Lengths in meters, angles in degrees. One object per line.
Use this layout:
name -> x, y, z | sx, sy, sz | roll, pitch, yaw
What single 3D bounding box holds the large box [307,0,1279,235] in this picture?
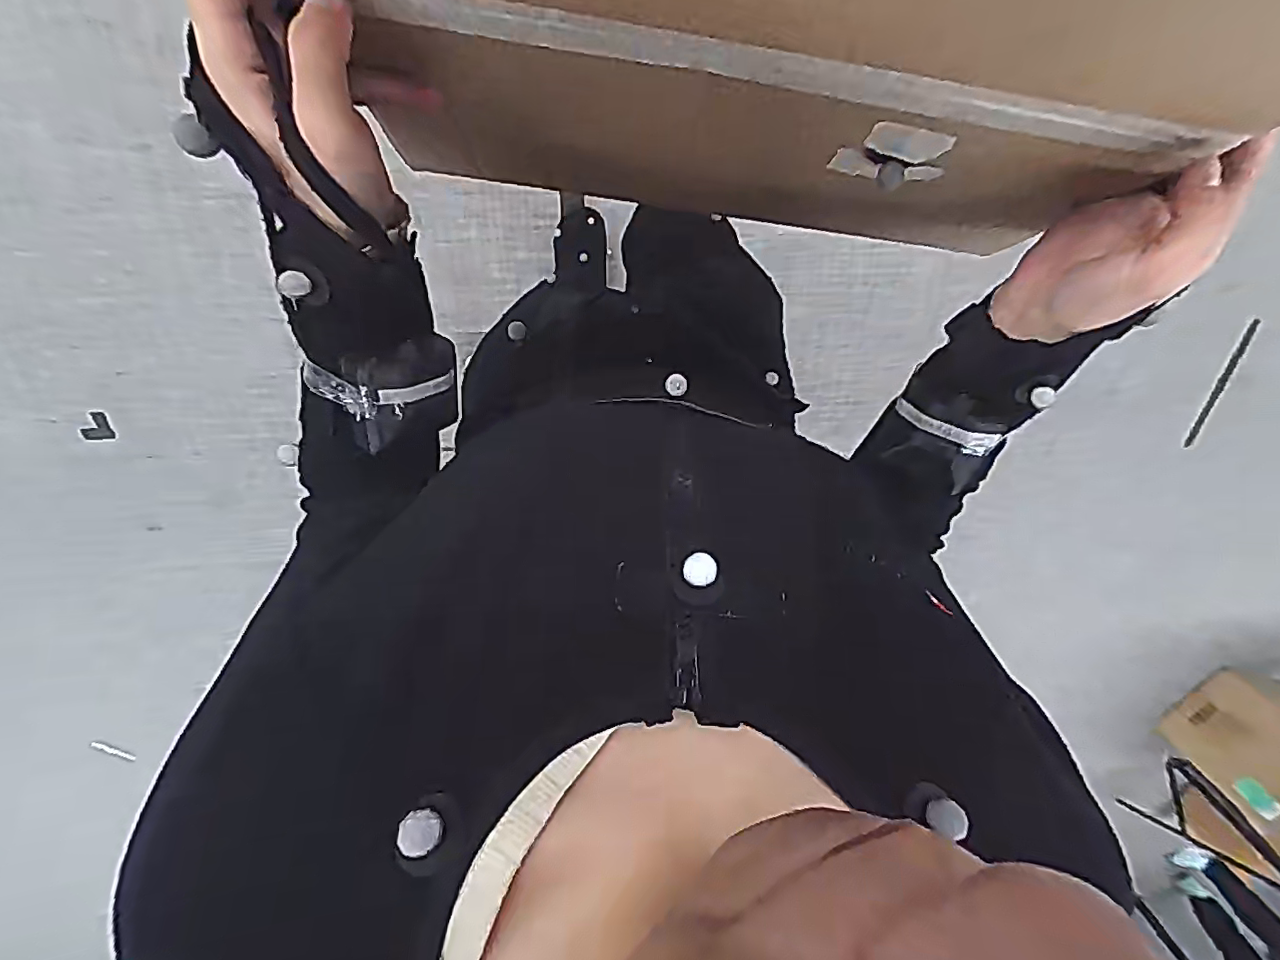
large box -> 0.074, -0.328, 0.210 | 0.408, 0.320, 0.320 | 4, 96, -6
